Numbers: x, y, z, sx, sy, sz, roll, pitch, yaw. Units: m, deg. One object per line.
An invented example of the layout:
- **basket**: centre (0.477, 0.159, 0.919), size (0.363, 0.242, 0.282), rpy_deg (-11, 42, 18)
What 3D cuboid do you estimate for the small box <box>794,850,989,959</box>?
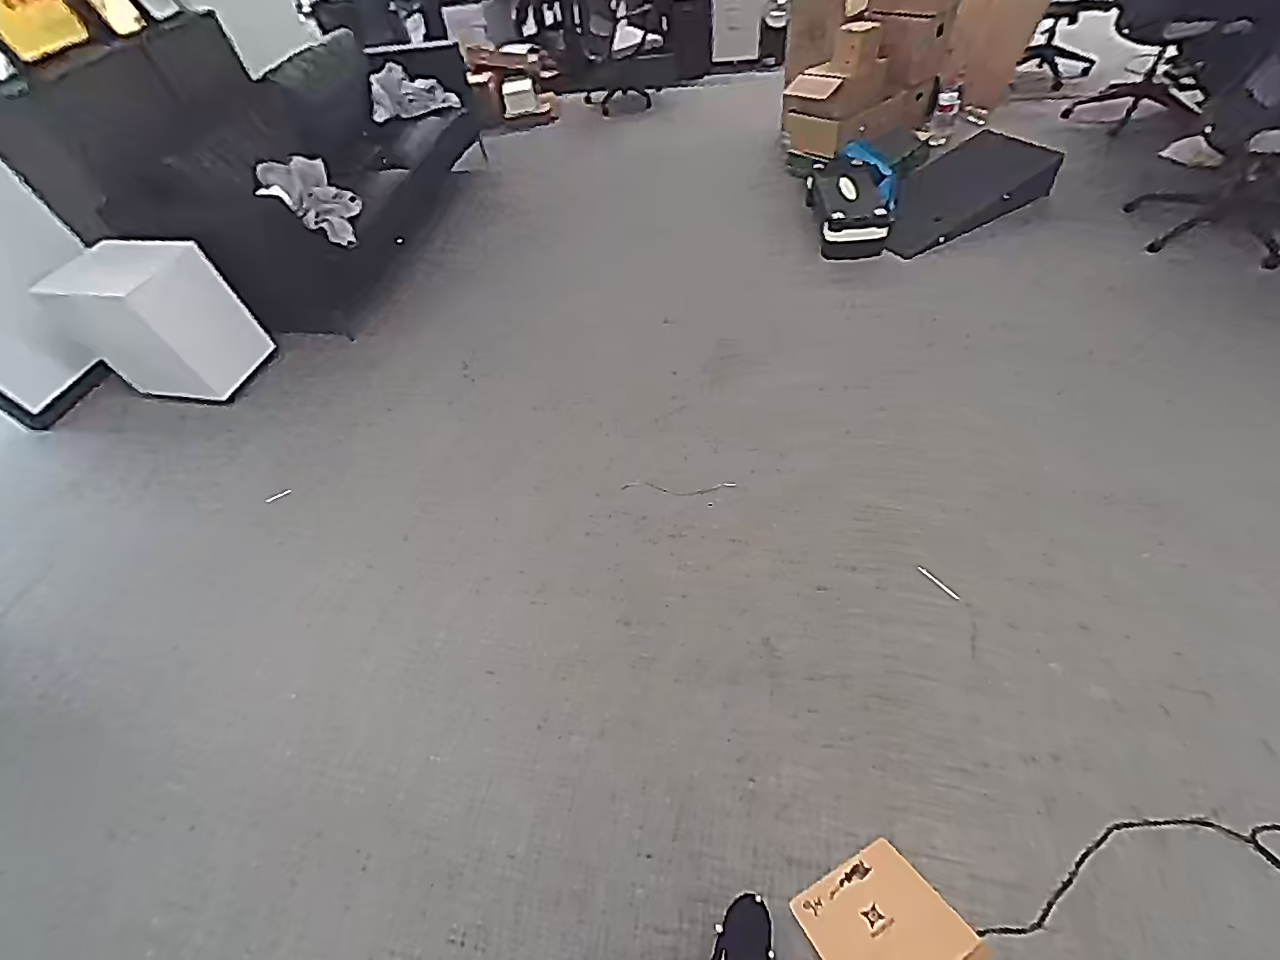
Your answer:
- **small box**: centre (0.333, 0.632, 0.675), size (0.168, 0.176, 0.179), rpy_deg (-28, 9, -13)
